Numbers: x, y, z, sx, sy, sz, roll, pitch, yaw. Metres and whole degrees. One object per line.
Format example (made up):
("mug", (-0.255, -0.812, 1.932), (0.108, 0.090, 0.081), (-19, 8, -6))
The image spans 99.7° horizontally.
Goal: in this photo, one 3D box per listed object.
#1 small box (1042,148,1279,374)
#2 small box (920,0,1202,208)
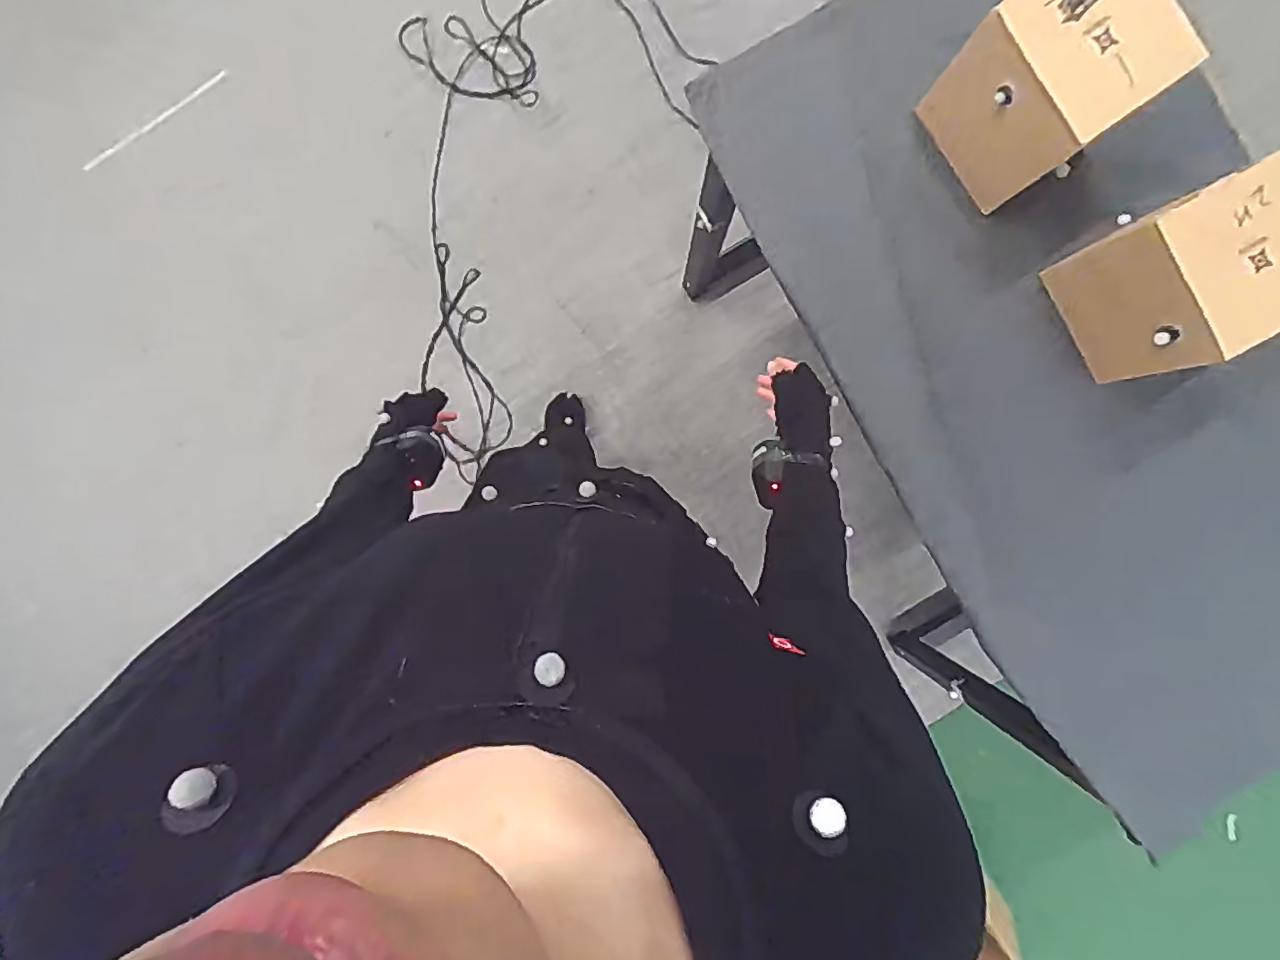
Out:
("small box", (0.653, -0.244, 0.657), (0.168, 0.176, 0.179), (-29, 91, 1))
("small box", (0.483, -0.475, 0.652), (0.168, 0.176, 0.179), (-35, 92, 1))
